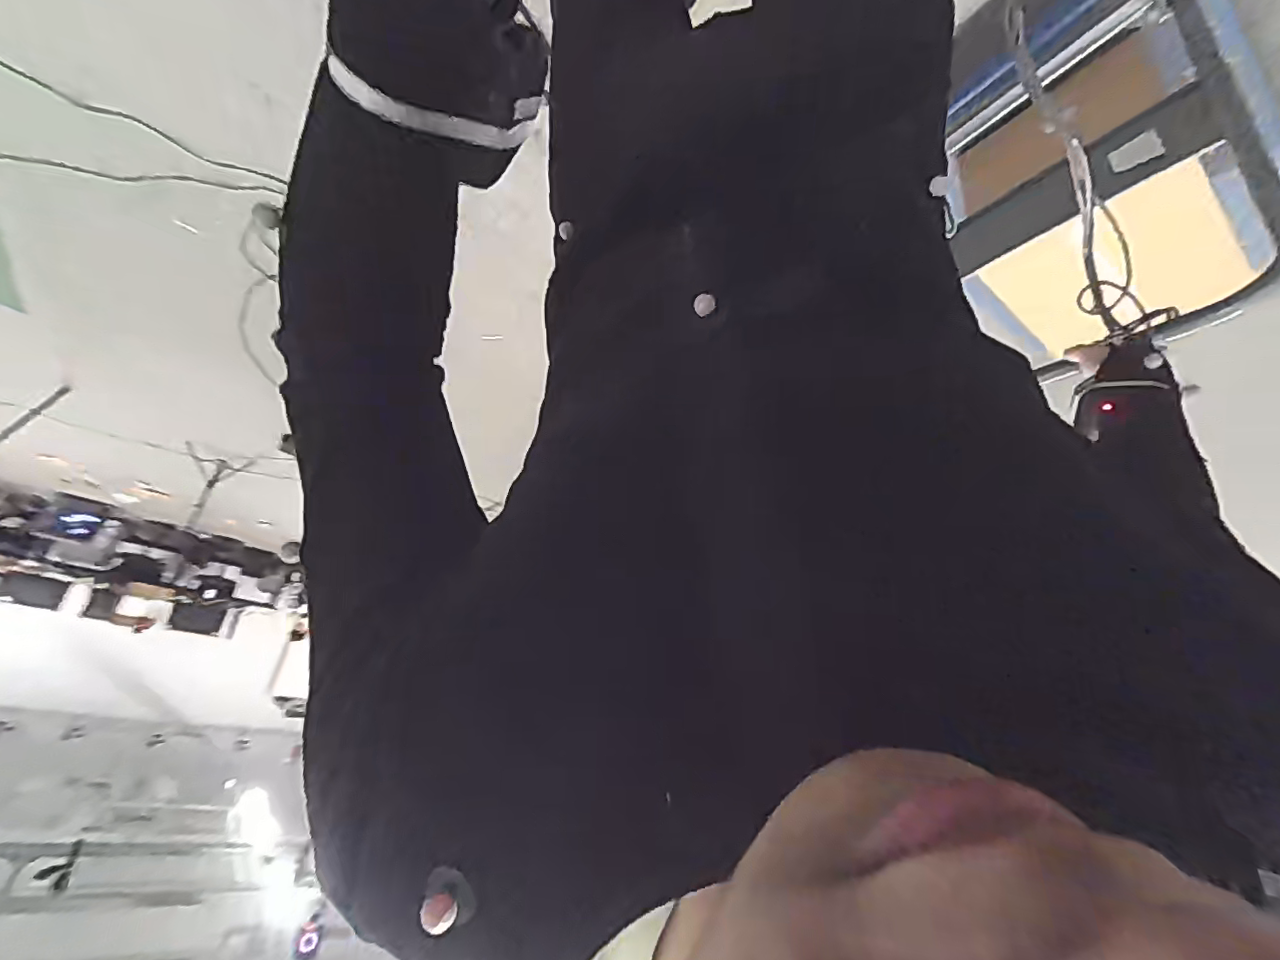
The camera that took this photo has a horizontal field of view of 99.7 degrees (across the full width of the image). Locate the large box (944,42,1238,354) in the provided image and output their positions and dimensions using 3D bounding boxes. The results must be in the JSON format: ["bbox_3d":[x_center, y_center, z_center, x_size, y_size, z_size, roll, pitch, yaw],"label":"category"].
[{"bbox_3d":[0.878,-0.526,1.081,0.408,0.320,0.320,22,153,-30],"label":"large box"}]
